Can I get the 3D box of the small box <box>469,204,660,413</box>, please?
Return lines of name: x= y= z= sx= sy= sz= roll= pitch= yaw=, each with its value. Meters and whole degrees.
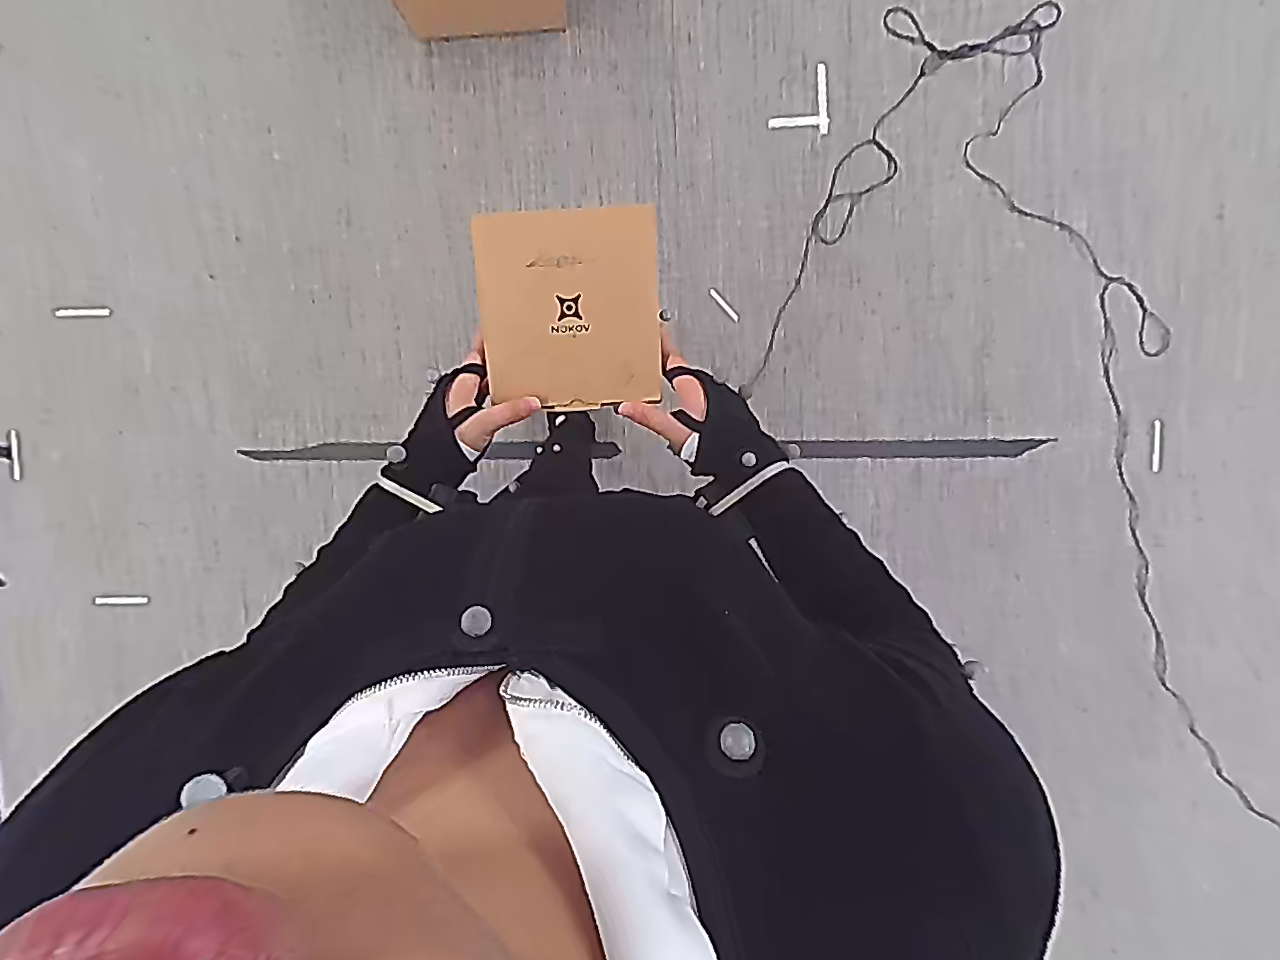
small box: x=-0.065 y=-0.169 z=0.567 sx=0.168 sy=0.176 sz=0.179 roll=-4 pitch=102 yaw=0
